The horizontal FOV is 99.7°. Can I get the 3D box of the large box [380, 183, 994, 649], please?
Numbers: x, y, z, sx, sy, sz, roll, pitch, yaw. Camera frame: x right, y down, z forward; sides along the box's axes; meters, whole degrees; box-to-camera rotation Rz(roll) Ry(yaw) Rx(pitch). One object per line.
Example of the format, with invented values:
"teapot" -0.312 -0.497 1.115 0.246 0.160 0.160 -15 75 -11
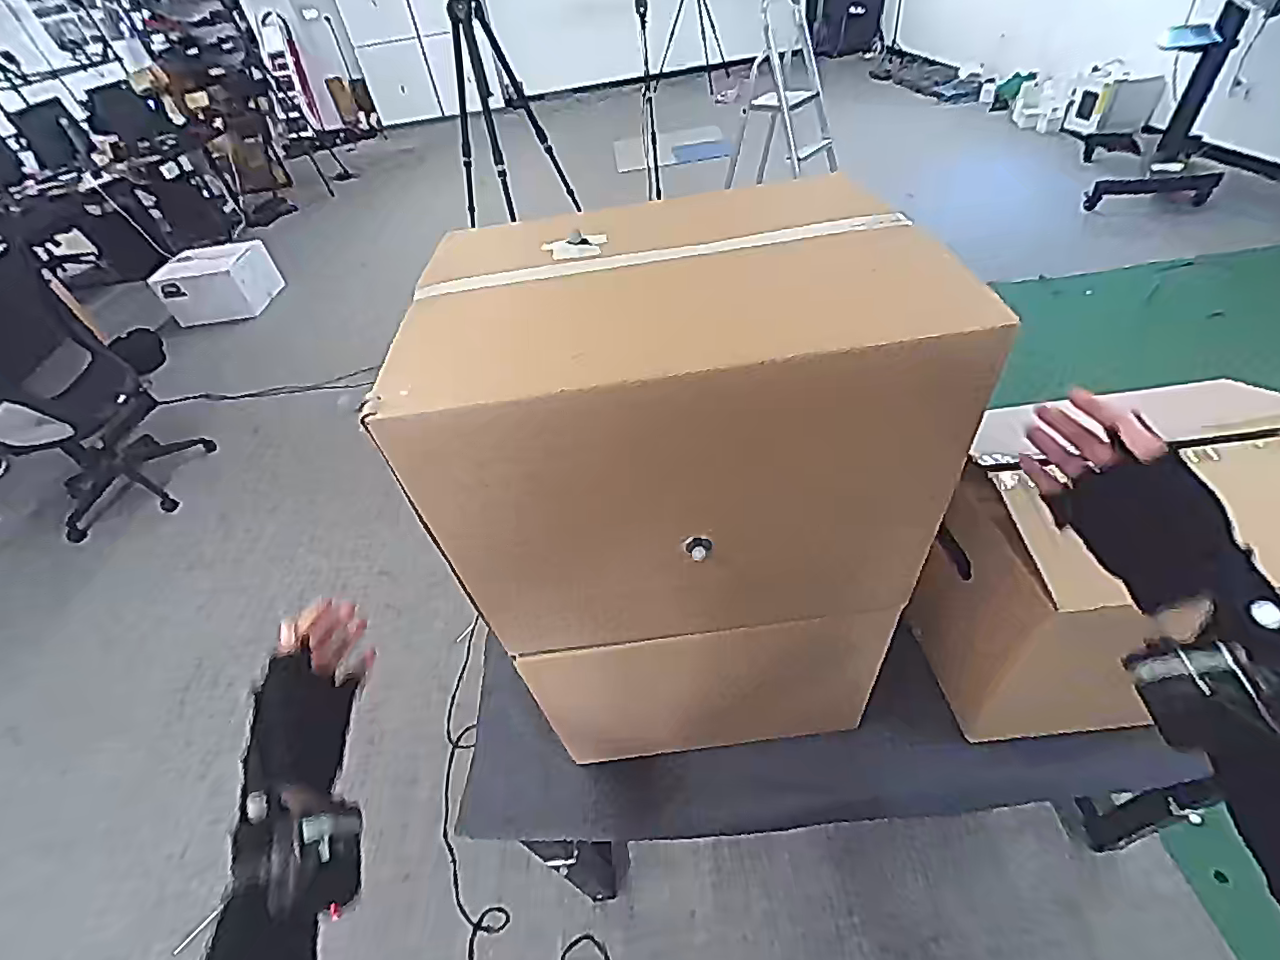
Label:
"large box" 0.035 -0.060 0.550 0.408 0.320 0.320 -8 44 2
